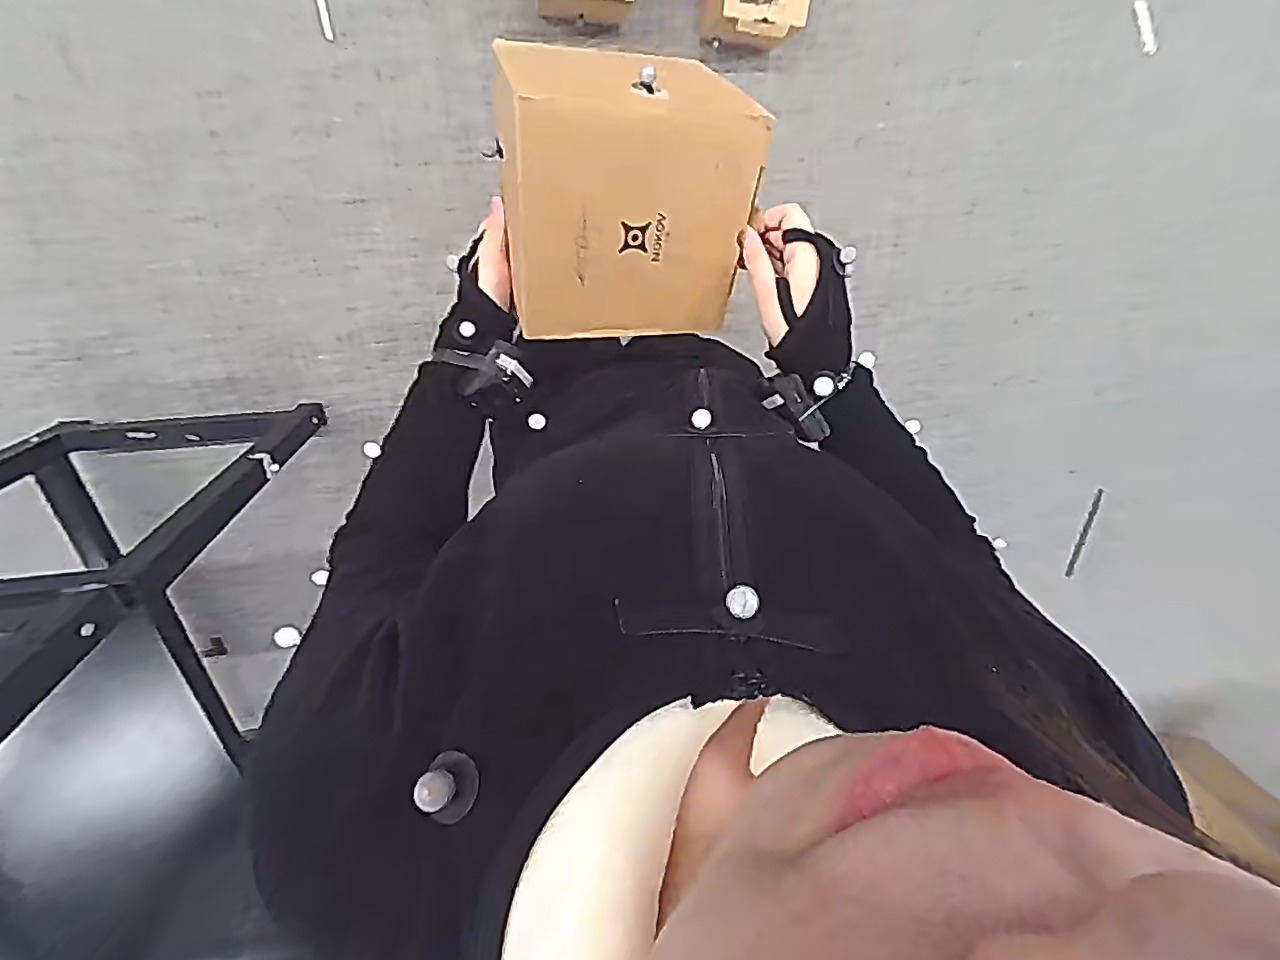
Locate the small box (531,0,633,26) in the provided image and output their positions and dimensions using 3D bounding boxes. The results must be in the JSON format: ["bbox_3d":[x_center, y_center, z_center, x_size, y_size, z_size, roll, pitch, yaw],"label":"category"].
[{"bbox_3d":[-0.107,-0.952,0.977,0.179,0.176,0.168,-2,117,-12],"label":"small box"}]

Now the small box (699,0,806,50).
[{"bbox_3d":[0.219,-0.961,1.039,0.168,0.176,0.179,-1,116,-12],"label":"small box"}]
